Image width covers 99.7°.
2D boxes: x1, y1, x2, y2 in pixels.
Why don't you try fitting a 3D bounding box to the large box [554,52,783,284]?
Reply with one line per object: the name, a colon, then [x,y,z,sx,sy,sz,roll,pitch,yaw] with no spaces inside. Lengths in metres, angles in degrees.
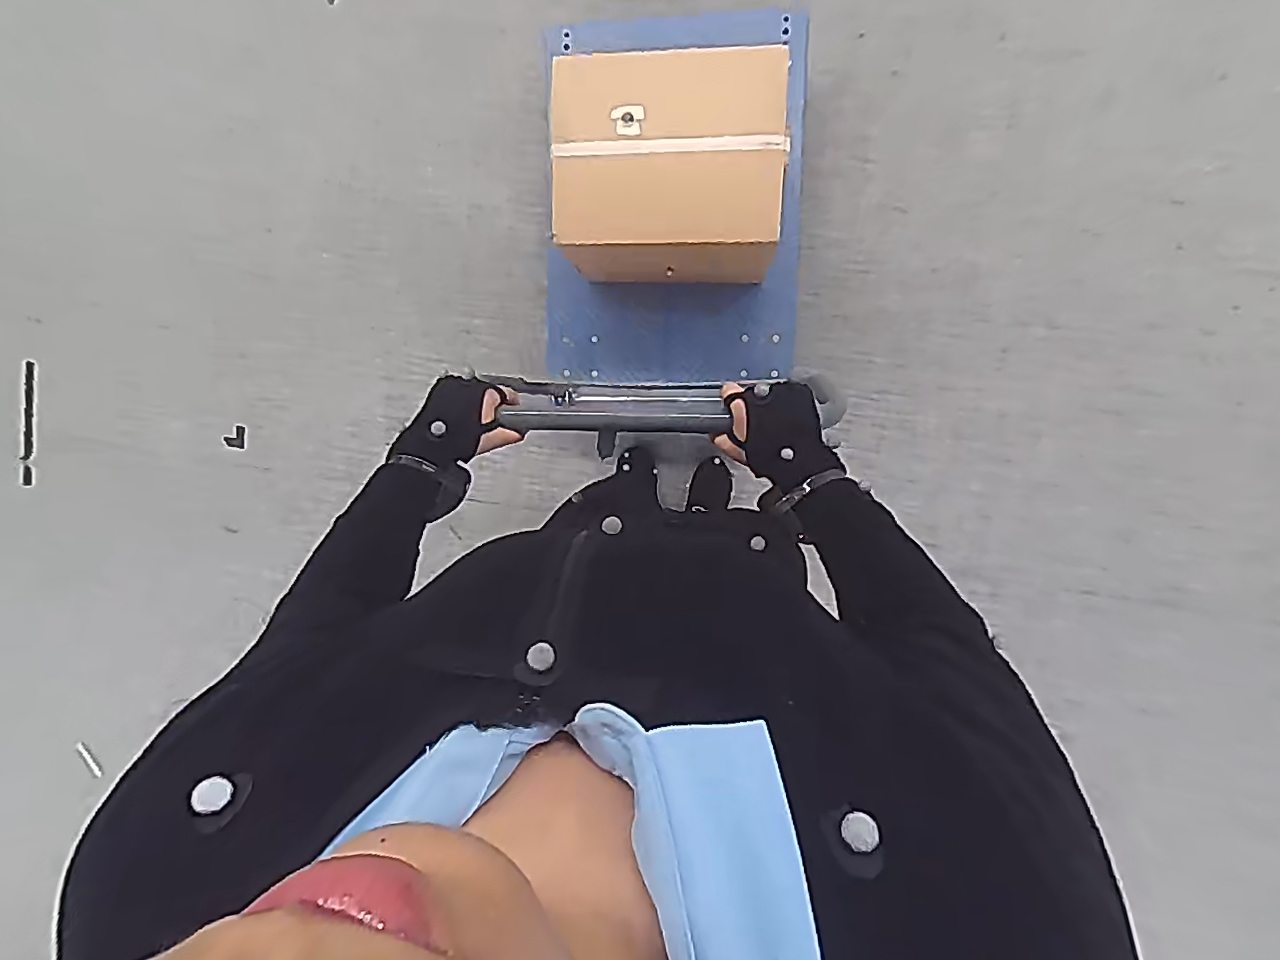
large box: [0.065,-0.590,1.095,0.408,0.320,0.320,2,97,8]
